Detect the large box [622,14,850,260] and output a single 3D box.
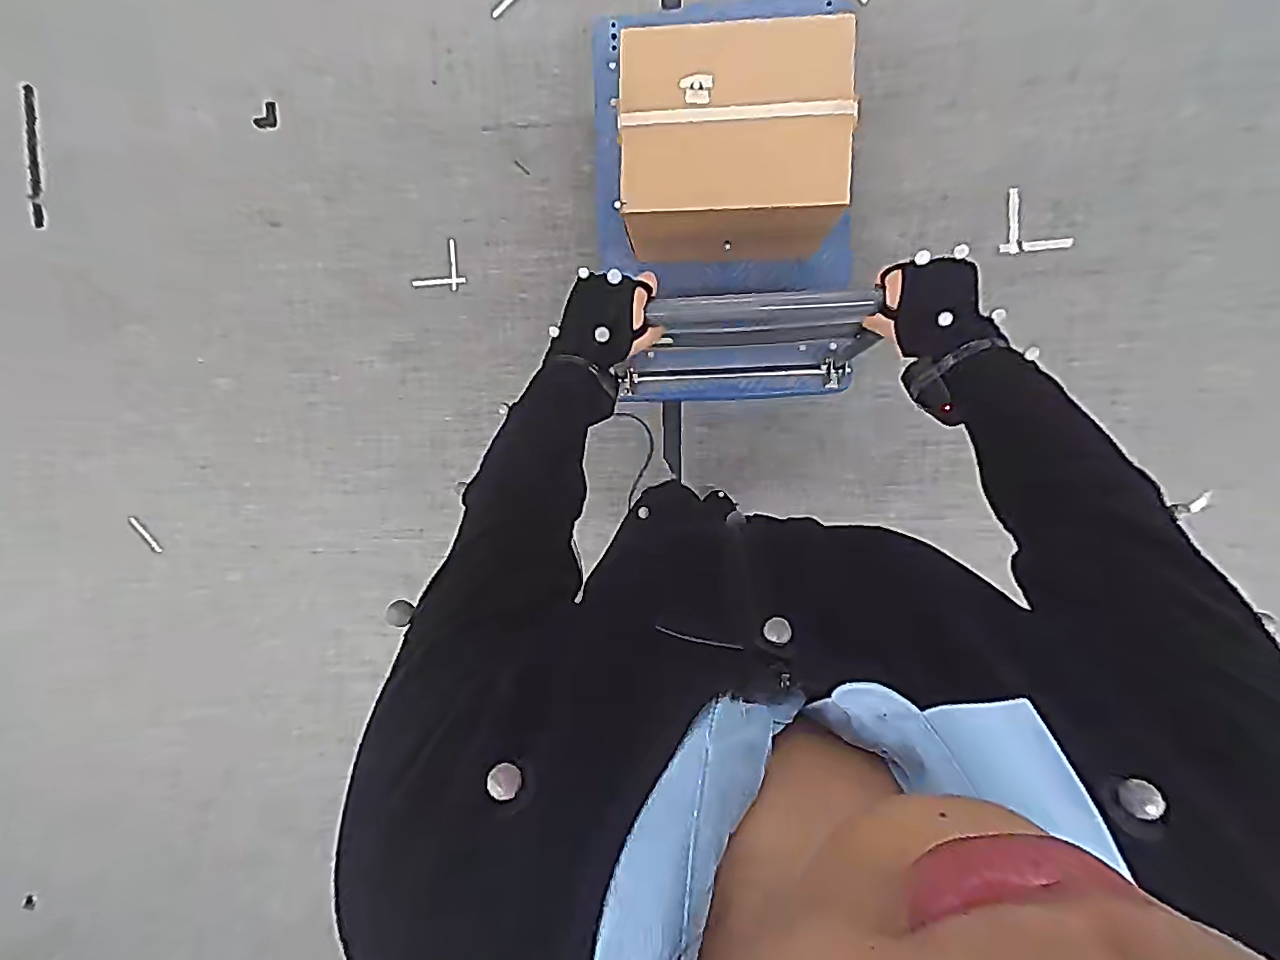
[{"bbox_3d":[0.185,-0.659,1.106,0.408,0.320,0.320,0,94,6],"label":"large box"}]
